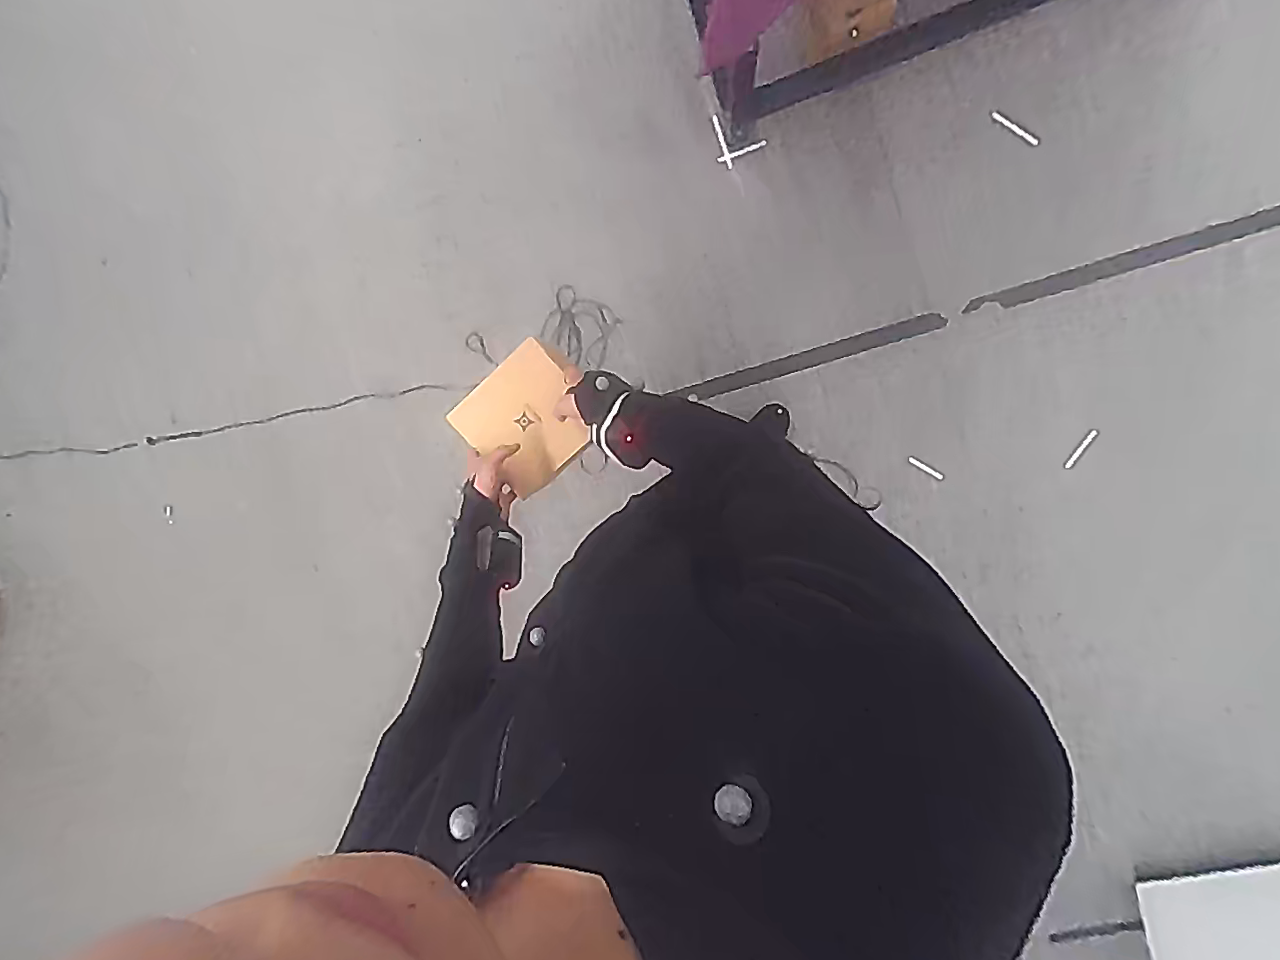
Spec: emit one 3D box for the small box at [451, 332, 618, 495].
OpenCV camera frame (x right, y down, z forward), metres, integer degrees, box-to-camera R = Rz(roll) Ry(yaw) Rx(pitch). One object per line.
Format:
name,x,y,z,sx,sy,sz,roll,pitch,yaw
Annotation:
small box,-0.151,-0.102,0.846,0.179,0.176,0.168,-41,94,8
